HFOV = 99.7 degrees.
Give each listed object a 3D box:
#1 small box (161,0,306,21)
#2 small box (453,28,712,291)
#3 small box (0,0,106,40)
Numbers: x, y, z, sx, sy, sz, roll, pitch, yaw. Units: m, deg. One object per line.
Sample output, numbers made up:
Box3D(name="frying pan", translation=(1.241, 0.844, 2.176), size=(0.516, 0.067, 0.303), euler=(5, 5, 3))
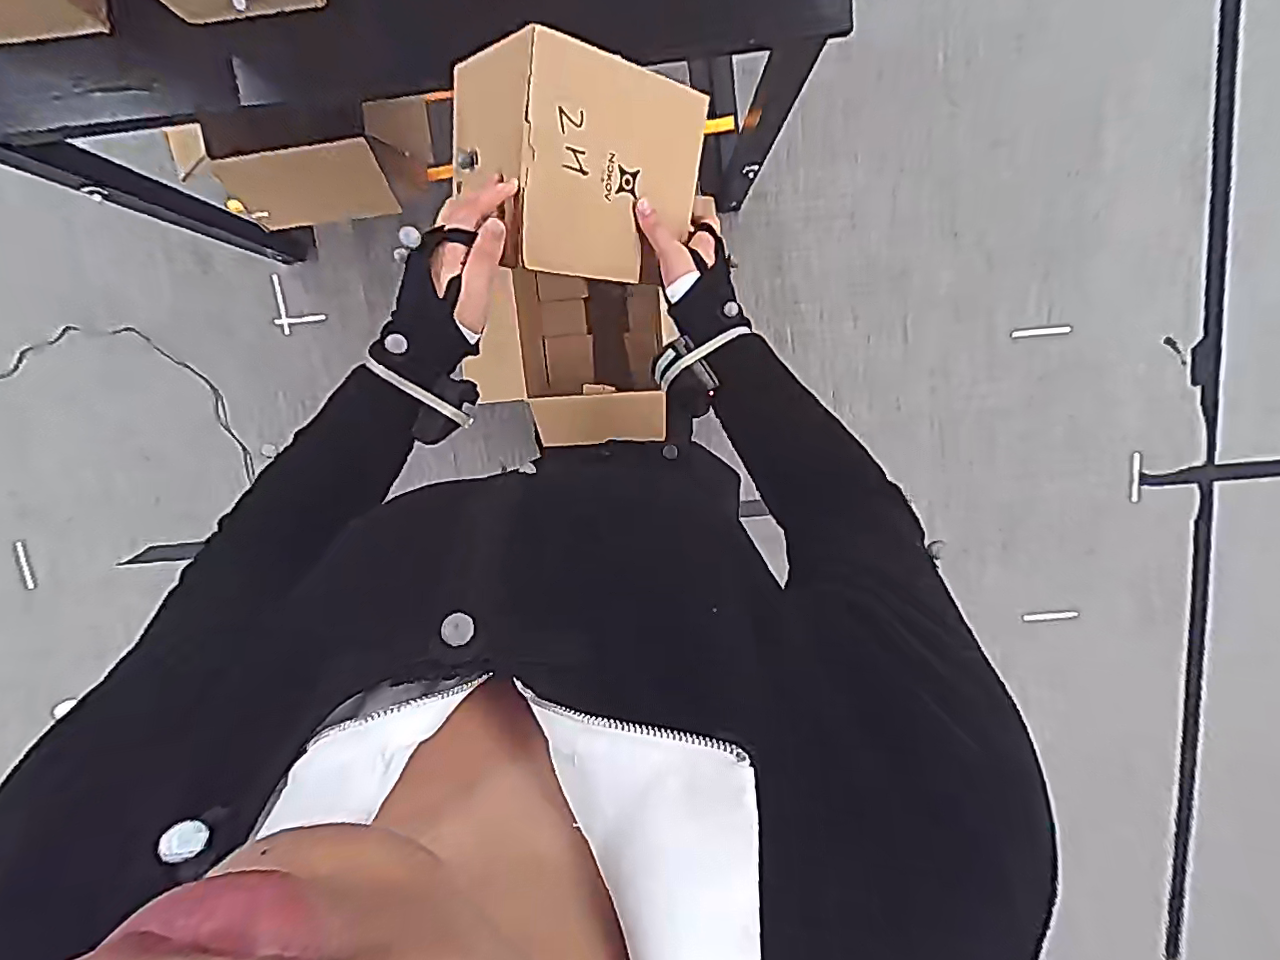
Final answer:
Box3D(name="small box", translation=(-0.474, -0.631, 0.564), size=(0.179, 0.176, 0.168), euler=(-8, 99, 0))
Box3D(name="small box", translation=(-0.062, -0.281, 0.513), size=(0.179, 0.176, 0.168), euler=(-8, 115, -35))
Box3D(name="small box", translation=(-0.736, -0.604, 0.567), size=(0.179, 0.176, 0.168), euler=(-4, 100, 0))
